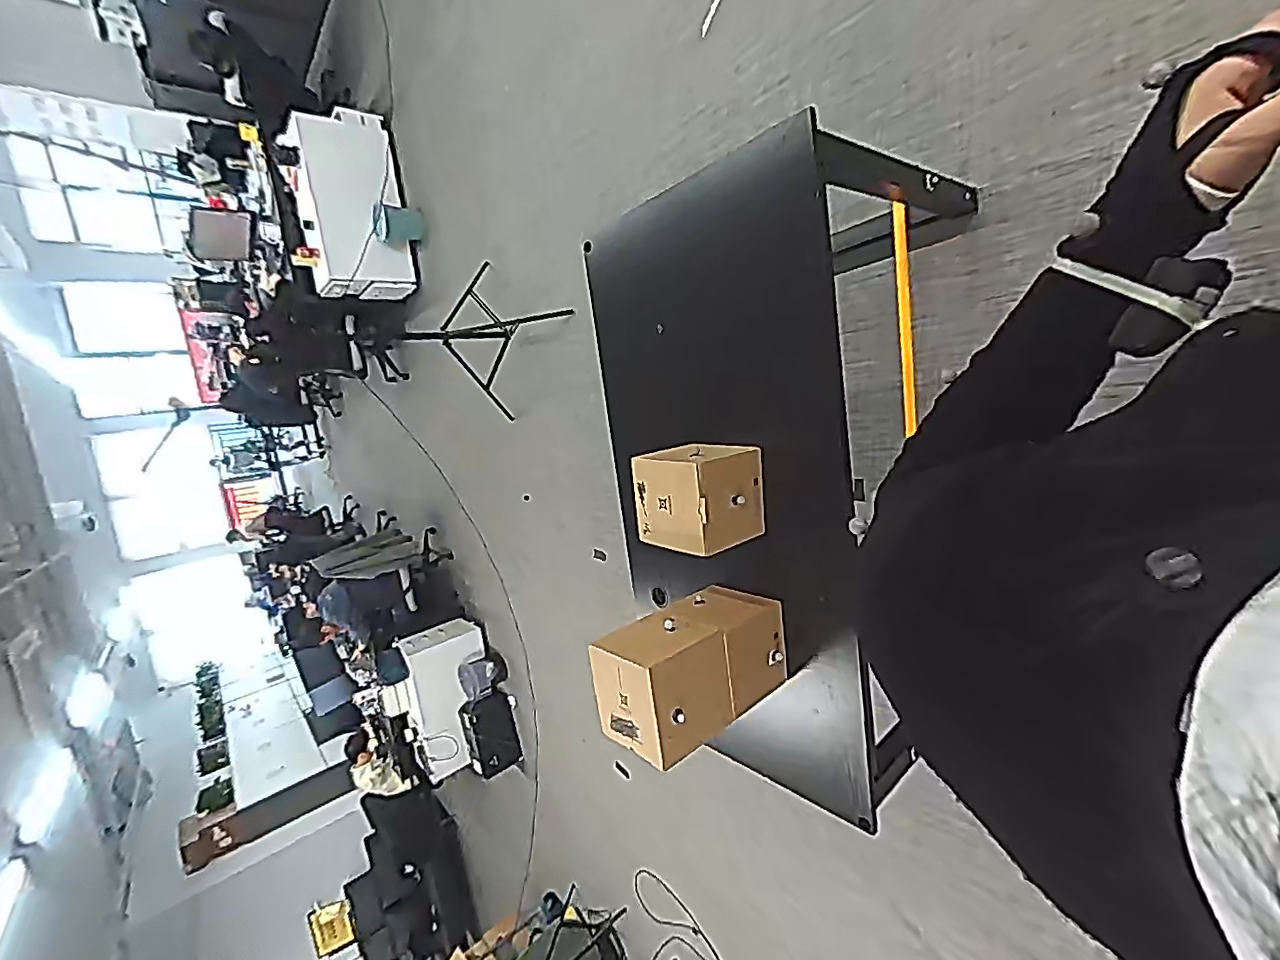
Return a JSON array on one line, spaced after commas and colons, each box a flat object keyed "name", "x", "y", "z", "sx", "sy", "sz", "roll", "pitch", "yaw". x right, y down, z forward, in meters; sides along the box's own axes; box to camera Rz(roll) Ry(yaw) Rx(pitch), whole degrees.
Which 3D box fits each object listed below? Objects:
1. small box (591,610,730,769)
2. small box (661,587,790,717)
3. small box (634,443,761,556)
[{"name": "small box", "x": 0.040, "y": 0.349, "z": 0.939, "sx": 0.168, "sy": 0.176, "sz": 0.179, "roll": 1, "pitch": 102, "yaw": 51}, {"name": "small box", "x": 0.164, "y": 0.317, "z": 1.042, "sx": 0.179, "sy": 0.176, "sz": 0.168, "roll": 2, "pitch": 104, "yaw": 50}, {"name": "small box", "x": 0.114, "y": 0.026, "z": 1.011, "sx": 0.179, "sy": 0.176, "sz": 0.168, "roll": 7, "pitch": 107, "yaw": 49}]
